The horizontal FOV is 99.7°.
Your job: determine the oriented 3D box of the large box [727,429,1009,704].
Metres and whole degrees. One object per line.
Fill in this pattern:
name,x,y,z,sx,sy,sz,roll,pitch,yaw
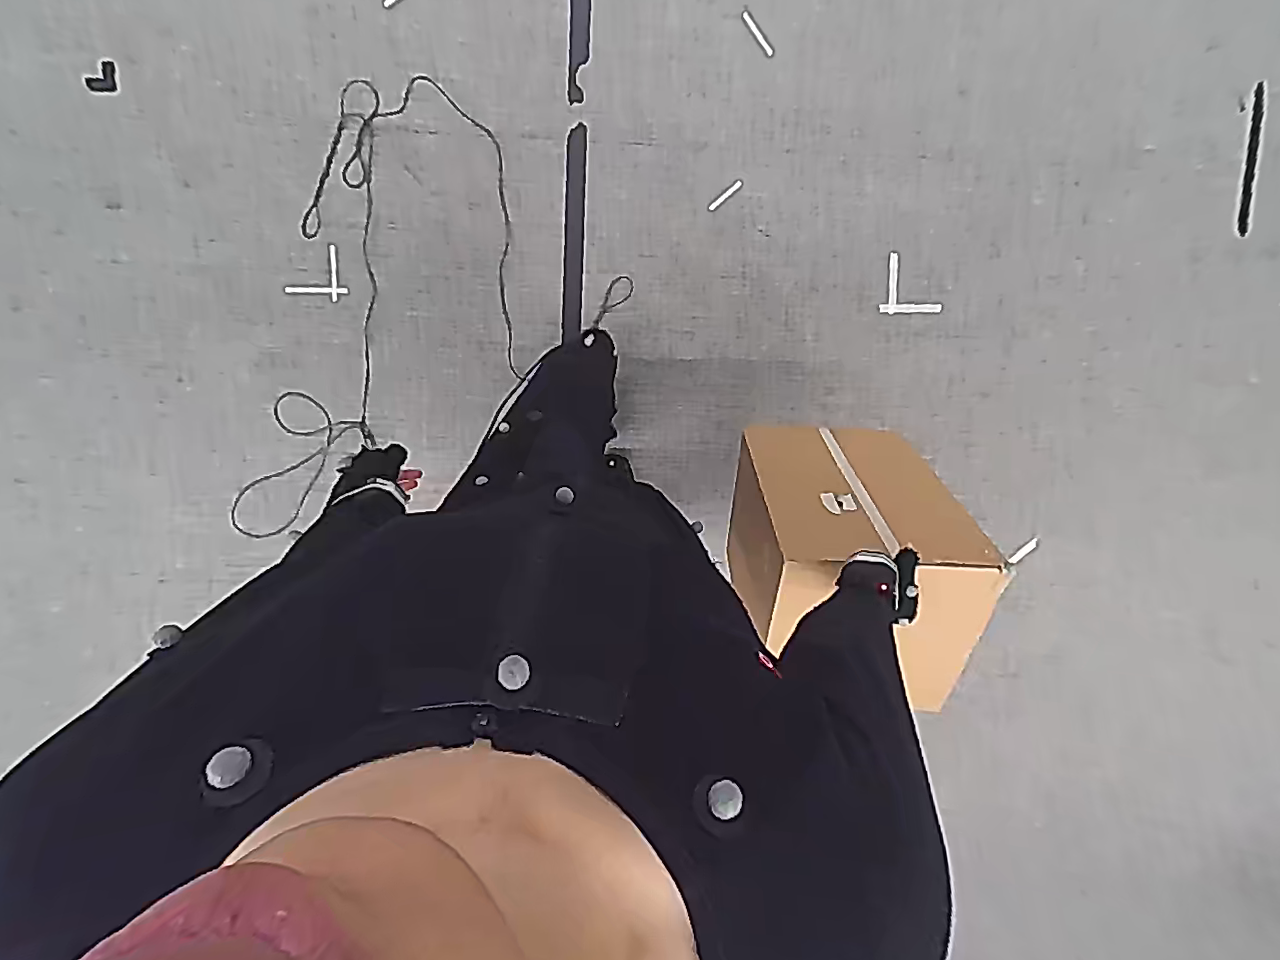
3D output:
large box,0.354,0.139,0.991,0.320,0.408,0.320,1,123,0
